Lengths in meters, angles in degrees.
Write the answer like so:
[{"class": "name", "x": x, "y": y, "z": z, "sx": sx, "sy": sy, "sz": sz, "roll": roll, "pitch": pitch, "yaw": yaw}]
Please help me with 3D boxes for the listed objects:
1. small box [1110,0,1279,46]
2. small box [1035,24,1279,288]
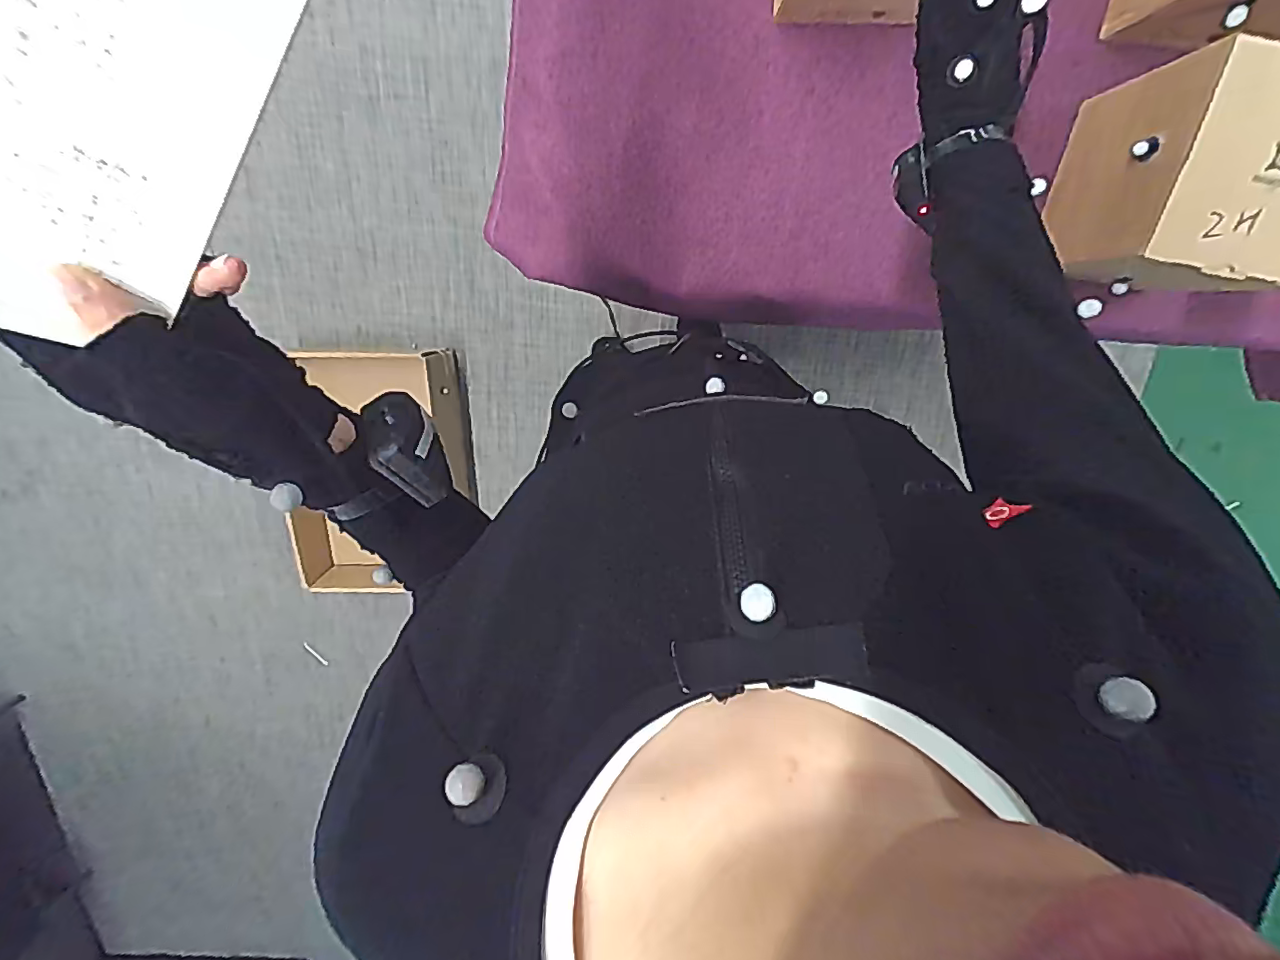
[{"class": "small box", "x": 0.572, "y": -0.515, "z": 0.471, "sx": 0.168, "sy": 0.176, "sz": 0.179, "roll": 4, "pitch": 108, "yaw": -1}, {"class": "small box", "x": 0.550, "y": -0.299, "z": 0.542, "sx": 0.168, "sy": 0.176, "sz": 0.179, "roll": 9, "pitch": 108, "yaw": -2}]
